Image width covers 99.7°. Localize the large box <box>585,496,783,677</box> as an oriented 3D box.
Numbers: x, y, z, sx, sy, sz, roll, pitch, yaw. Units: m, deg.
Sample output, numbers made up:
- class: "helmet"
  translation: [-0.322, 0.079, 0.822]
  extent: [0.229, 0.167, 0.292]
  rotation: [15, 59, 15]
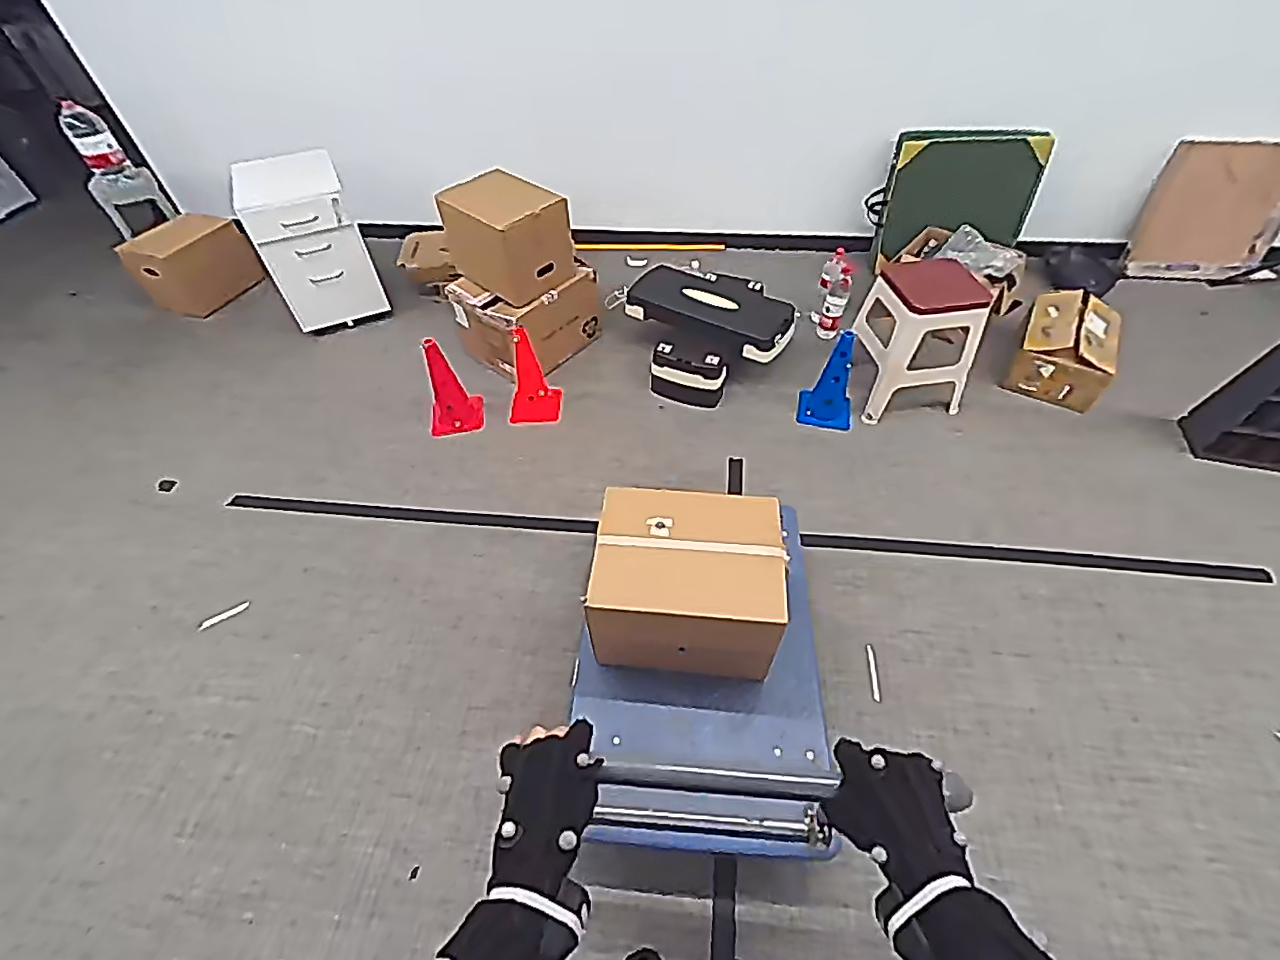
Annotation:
- class: "large box"
  translation: [0.107, 0.257, 1.288]
  extent: [0.408, 0.320, 0.320]
  rotation: [3, 50, 6]
